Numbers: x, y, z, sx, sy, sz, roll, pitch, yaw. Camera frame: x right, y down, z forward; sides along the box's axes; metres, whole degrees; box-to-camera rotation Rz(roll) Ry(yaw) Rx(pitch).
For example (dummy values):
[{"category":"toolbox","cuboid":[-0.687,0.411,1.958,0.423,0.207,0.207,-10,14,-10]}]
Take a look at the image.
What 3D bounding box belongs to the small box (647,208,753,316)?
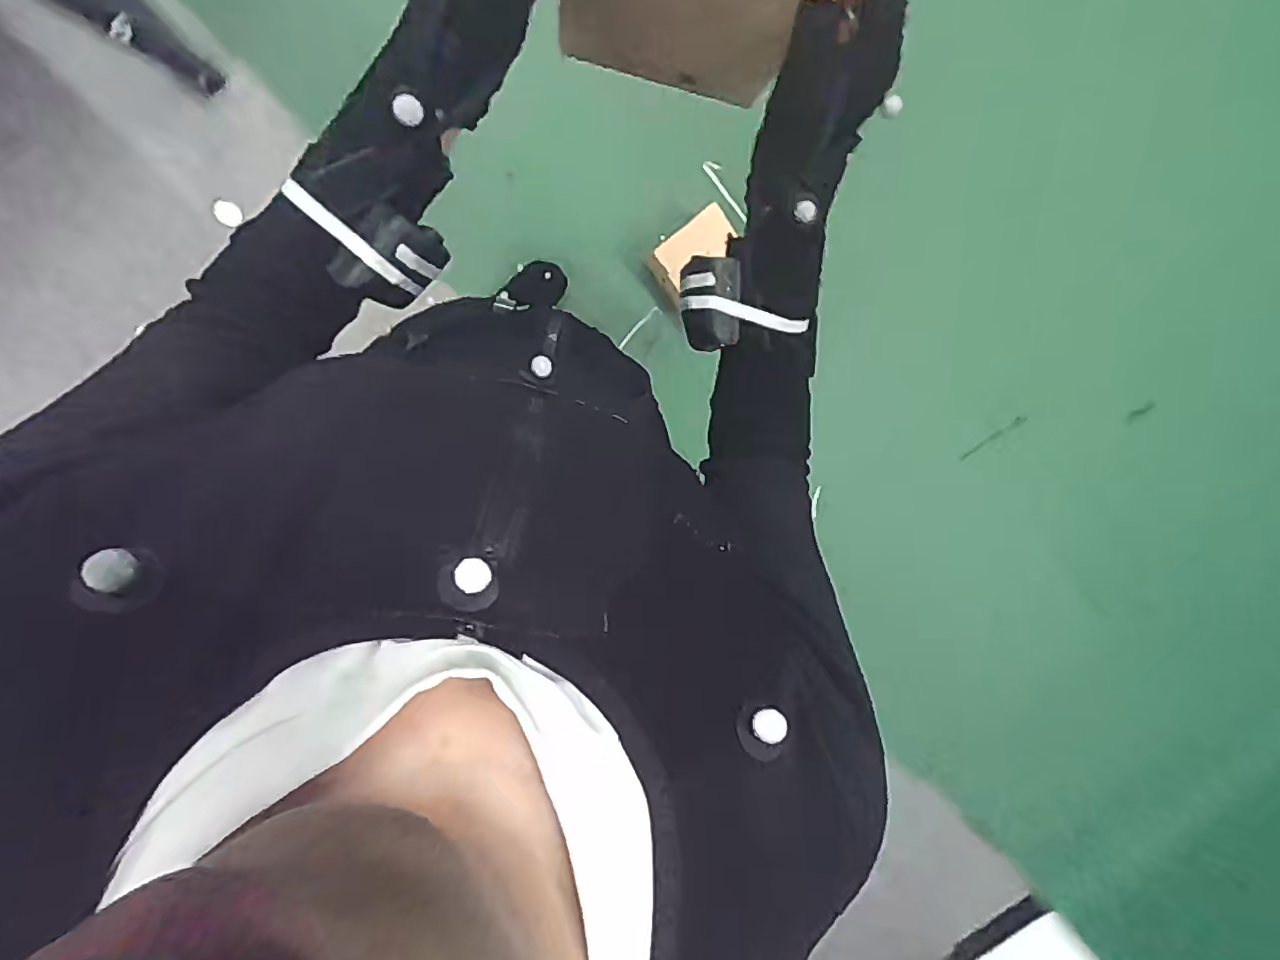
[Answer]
[{"category":"small box","cuboid":[0.136,-0.515,1.293,0.179,0.176,0.168,-37,108,6]}]
